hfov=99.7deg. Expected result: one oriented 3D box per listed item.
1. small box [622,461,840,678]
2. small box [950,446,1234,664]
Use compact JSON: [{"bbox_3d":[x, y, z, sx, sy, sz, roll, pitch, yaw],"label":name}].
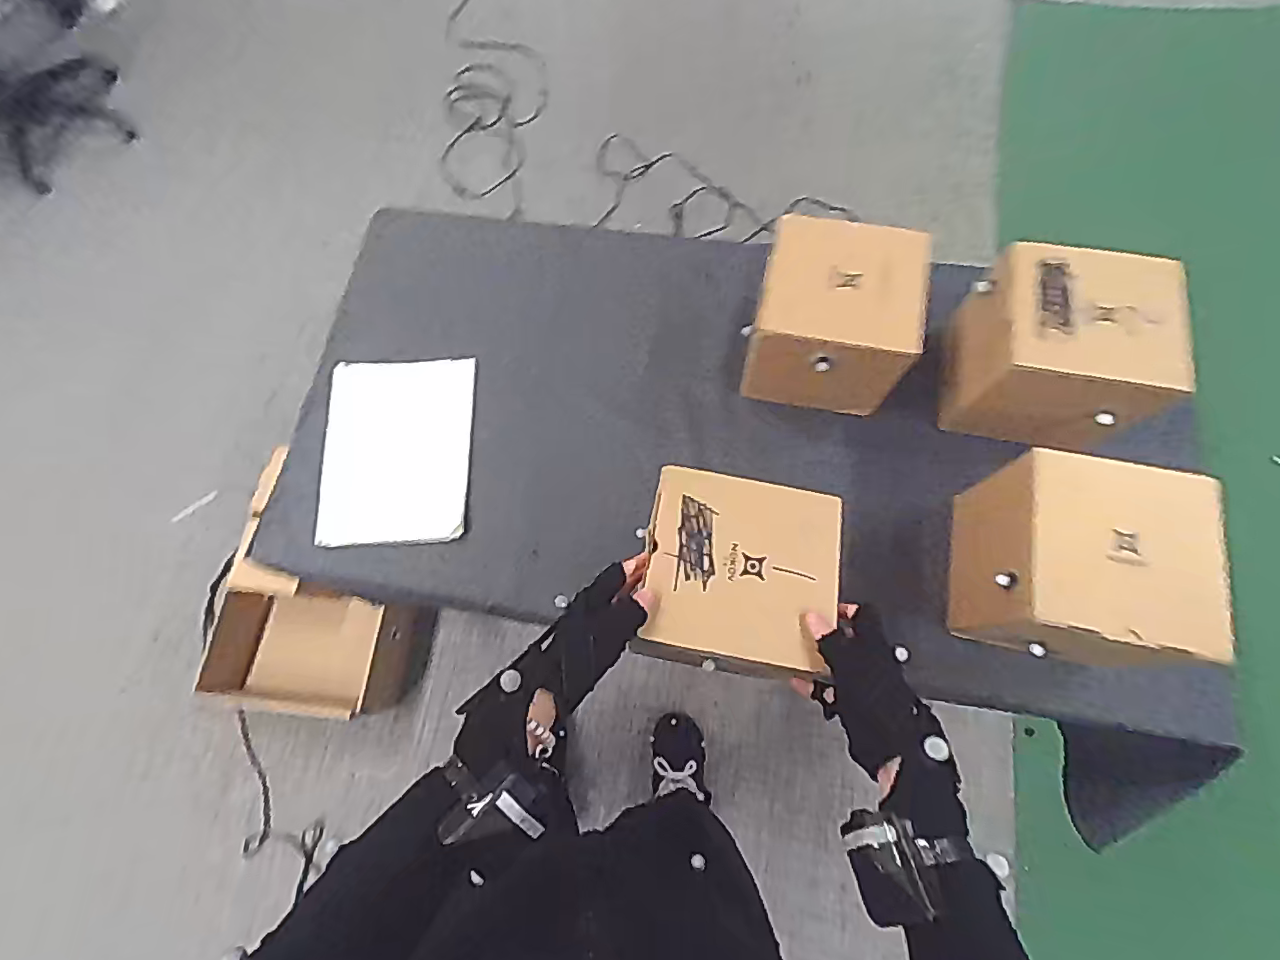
[{"bbox_3d":[0.083,0.102,0.554,0.179,0.176,0.168,12,67,-1],"label":"small box"},{"bbox_3d":[0.457,0.089,0.578,0.168,0.176,0.179,12,72,7],"label":"small box"}]
